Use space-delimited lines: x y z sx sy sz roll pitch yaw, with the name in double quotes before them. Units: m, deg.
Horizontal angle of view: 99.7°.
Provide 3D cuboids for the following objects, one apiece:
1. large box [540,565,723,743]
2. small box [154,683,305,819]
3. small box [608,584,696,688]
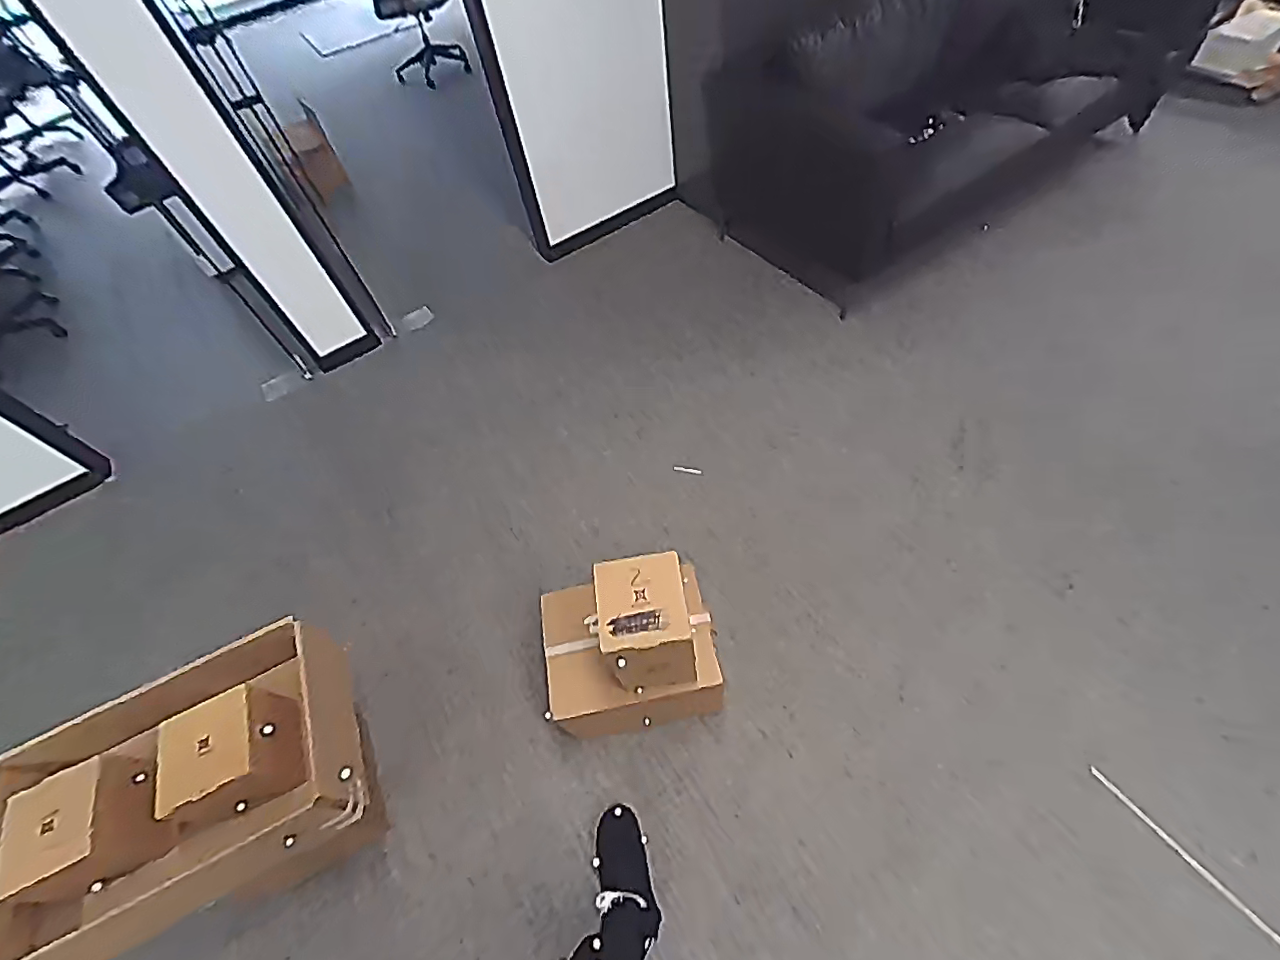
"large box" -0.015 0.466 1.424 0.408 0.320 0.320 -13 54 0
"small box" -0.790 0.531 1.055 0.168 0.176 0.179 -25 57 -10
"small box" 0.029 0.351 1.197 0.168 0.176 0.179 -9 56 1
